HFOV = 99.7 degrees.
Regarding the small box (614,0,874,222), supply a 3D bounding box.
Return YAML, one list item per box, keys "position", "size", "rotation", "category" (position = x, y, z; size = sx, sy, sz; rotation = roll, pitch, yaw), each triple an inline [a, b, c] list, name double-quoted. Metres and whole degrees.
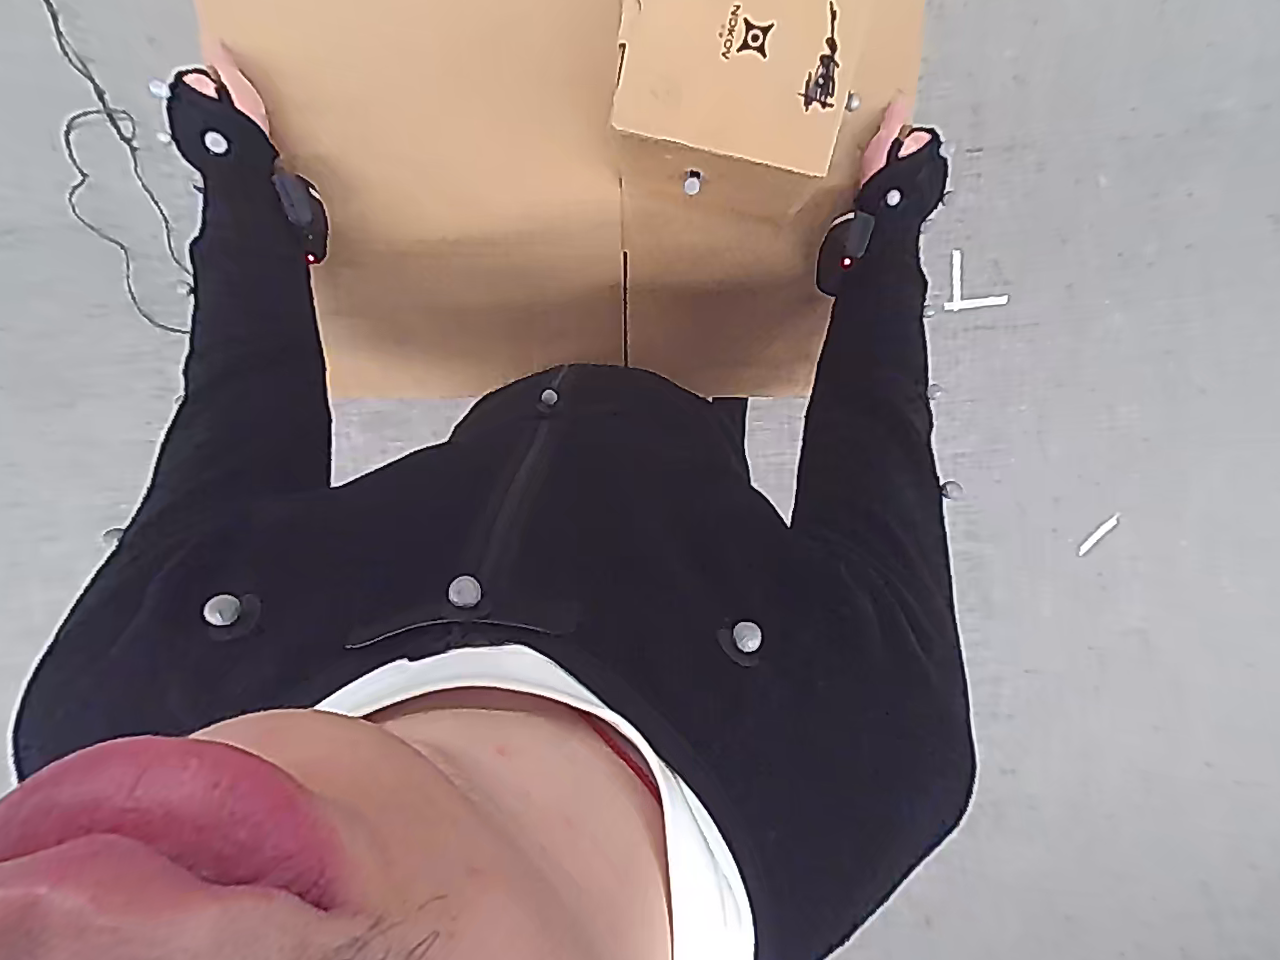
- position: [0.087, -0.352, 0.489]
  size: [0.179, 0.176, 0.168]
  rotation: [13, 103, 2]
  category: "small box"
